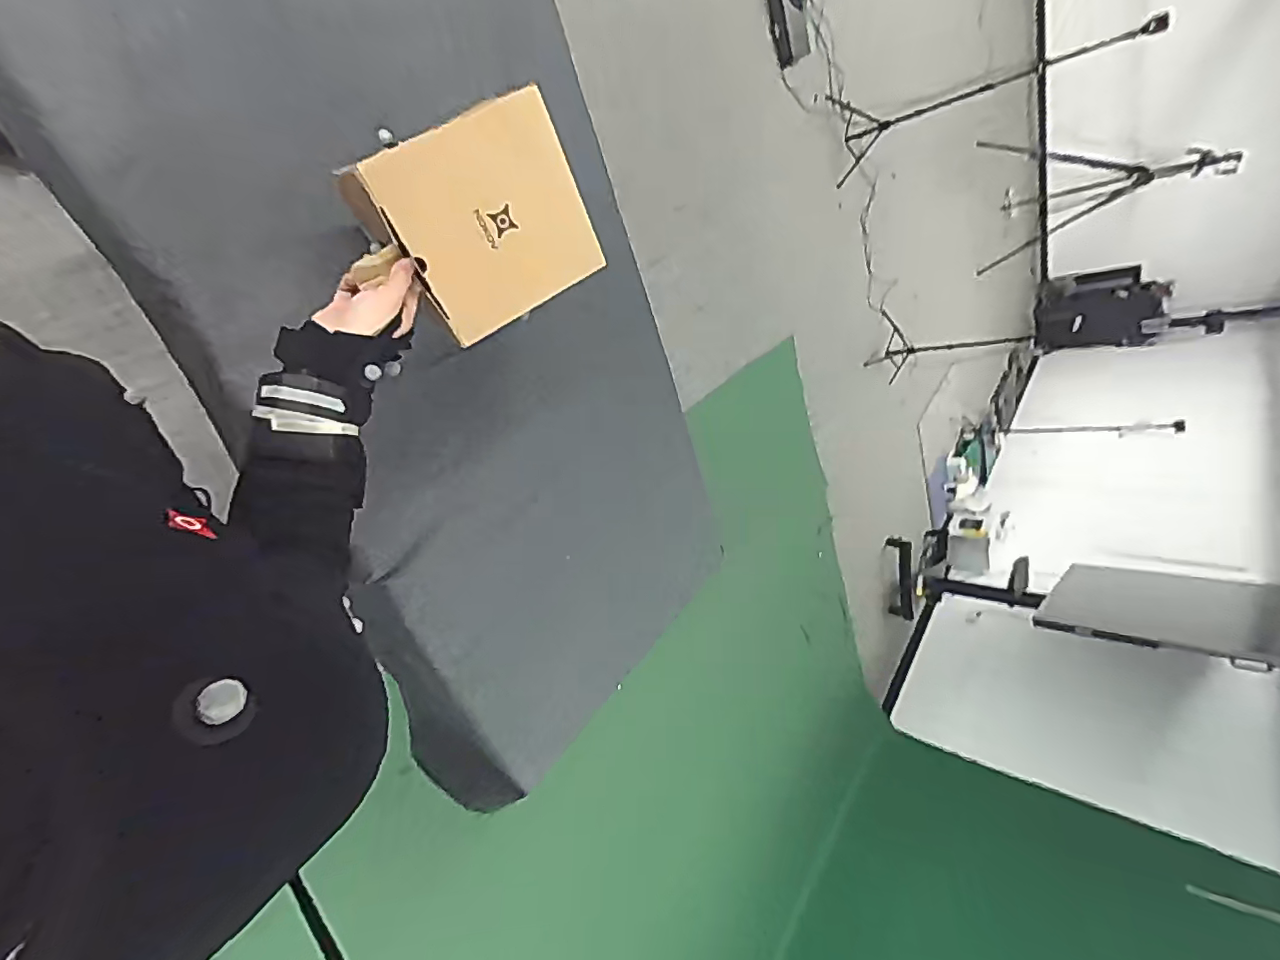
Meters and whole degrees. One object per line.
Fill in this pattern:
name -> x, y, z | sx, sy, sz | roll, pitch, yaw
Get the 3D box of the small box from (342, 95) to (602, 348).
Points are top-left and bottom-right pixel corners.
small box -> -0.175, -0.266, 0.560 | 0.179, 0.176, 0.168 | -37, 130, -15
